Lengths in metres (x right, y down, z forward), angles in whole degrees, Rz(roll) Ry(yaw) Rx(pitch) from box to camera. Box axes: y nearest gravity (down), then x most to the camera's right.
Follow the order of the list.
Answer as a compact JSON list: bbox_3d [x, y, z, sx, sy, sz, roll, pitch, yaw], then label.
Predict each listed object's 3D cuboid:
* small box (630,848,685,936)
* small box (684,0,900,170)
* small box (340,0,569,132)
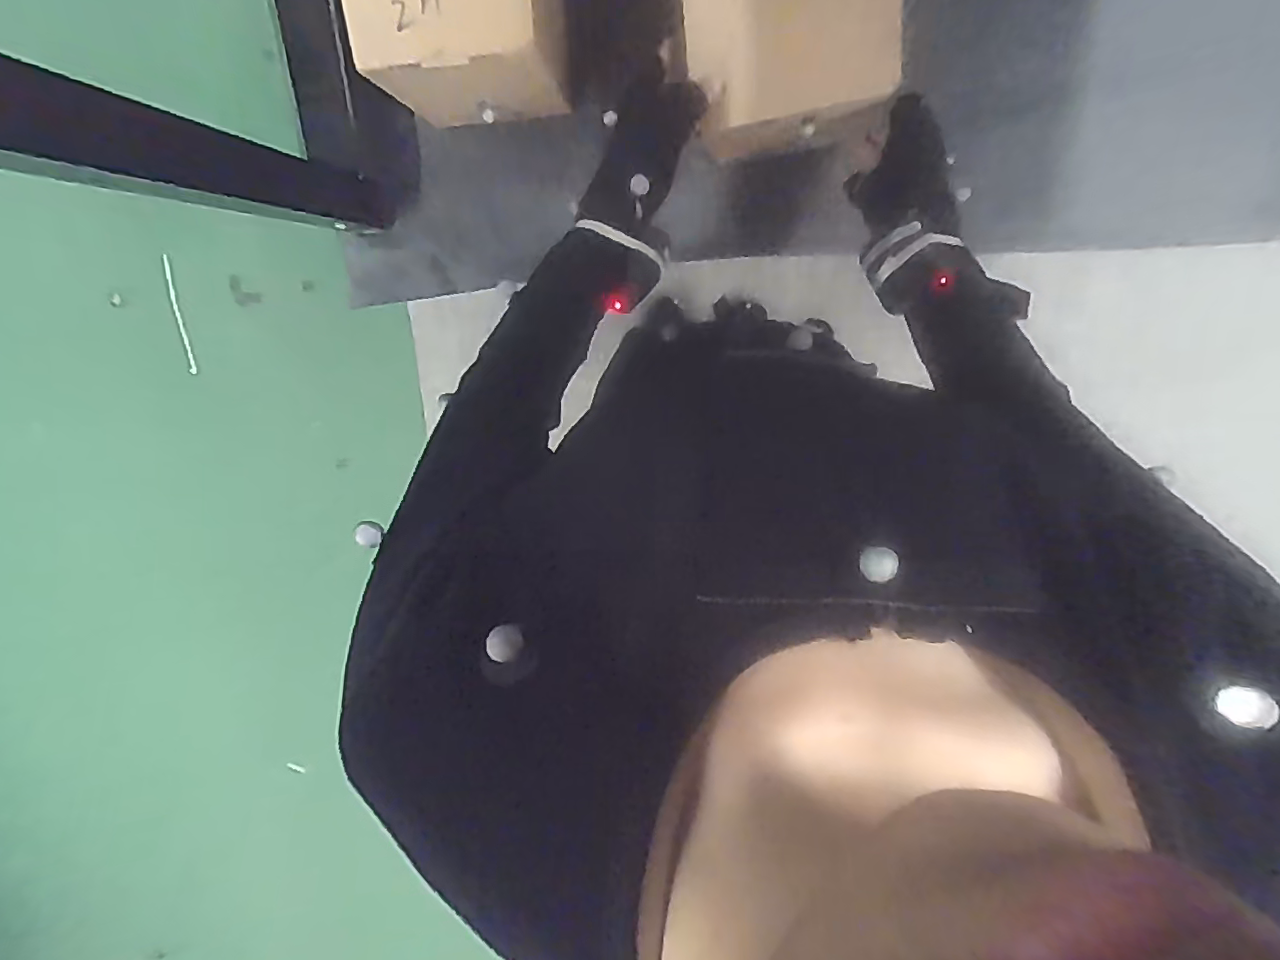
[{"bbox_3d":[0.063,1.436,1.893,0.168,0.176,0.179,8,109,3],"label":"small box"},{"bbox_3d":[0.137,-0.416,0.500,0.168,0.176,0.179,-3,108,16],"label":"small box"},{"bbox_3d":[-0.171,-0.467,0.523,0.168,0.176,0.179,-2,107,6],"label":"small box"}]
